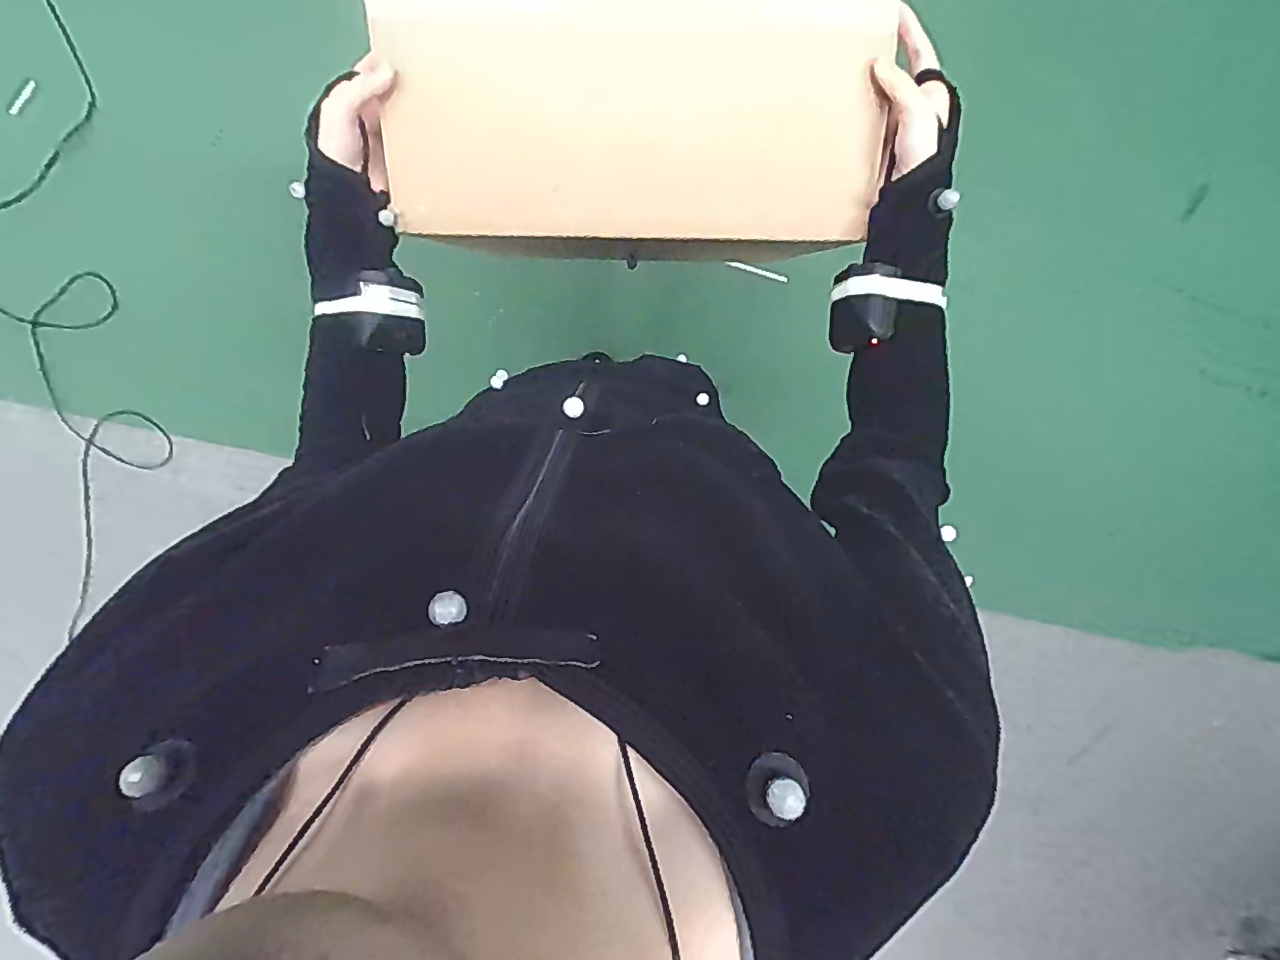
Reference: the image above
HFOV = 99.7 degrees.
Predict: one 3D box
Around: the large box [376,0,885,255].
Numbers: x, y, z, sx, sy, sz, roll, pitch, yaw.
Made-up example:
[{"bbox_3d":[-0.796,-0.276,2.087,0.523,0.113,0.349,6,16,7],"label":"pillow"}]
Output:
[{"bbox_3d":[-0.007,-0.410,0.563,0.408,0.320,0.320,0,108,-1],"label":"large box"}]
